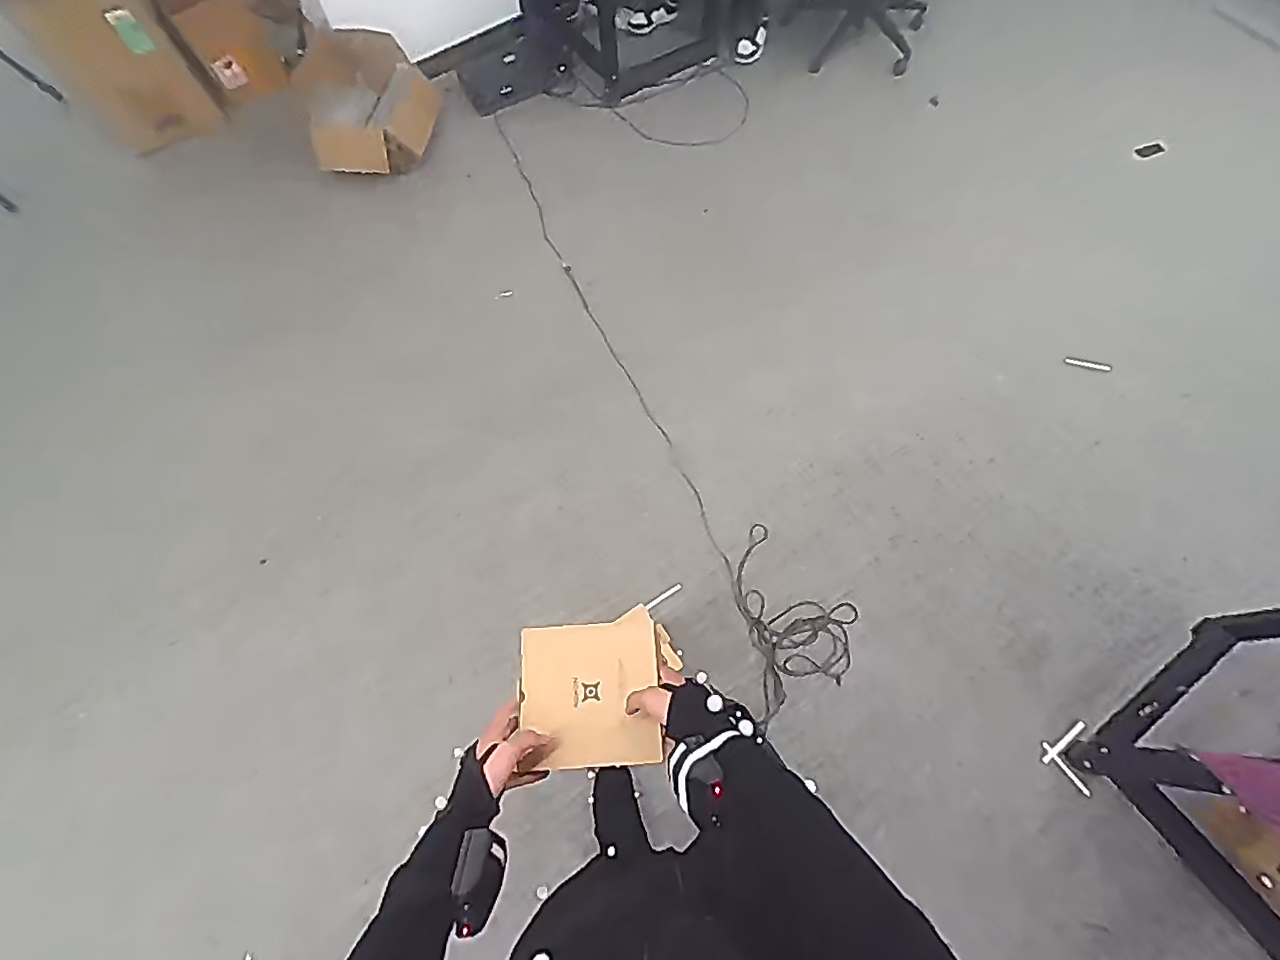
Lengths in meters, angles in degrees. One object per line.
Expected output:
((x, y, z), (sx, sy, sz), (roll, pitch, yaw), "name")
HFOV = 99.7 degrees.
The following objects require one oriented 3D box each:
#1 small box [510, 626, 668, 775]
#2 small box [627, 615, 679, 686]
((-0.059, 0.296, 0.723), (0.179, 0.176, 0.168), (-5, 65, 4), "small box")
((-0.015, 0.475, 1.383), (0.179, 0.176, 0.168), (-33, 70, -11), "small box")
